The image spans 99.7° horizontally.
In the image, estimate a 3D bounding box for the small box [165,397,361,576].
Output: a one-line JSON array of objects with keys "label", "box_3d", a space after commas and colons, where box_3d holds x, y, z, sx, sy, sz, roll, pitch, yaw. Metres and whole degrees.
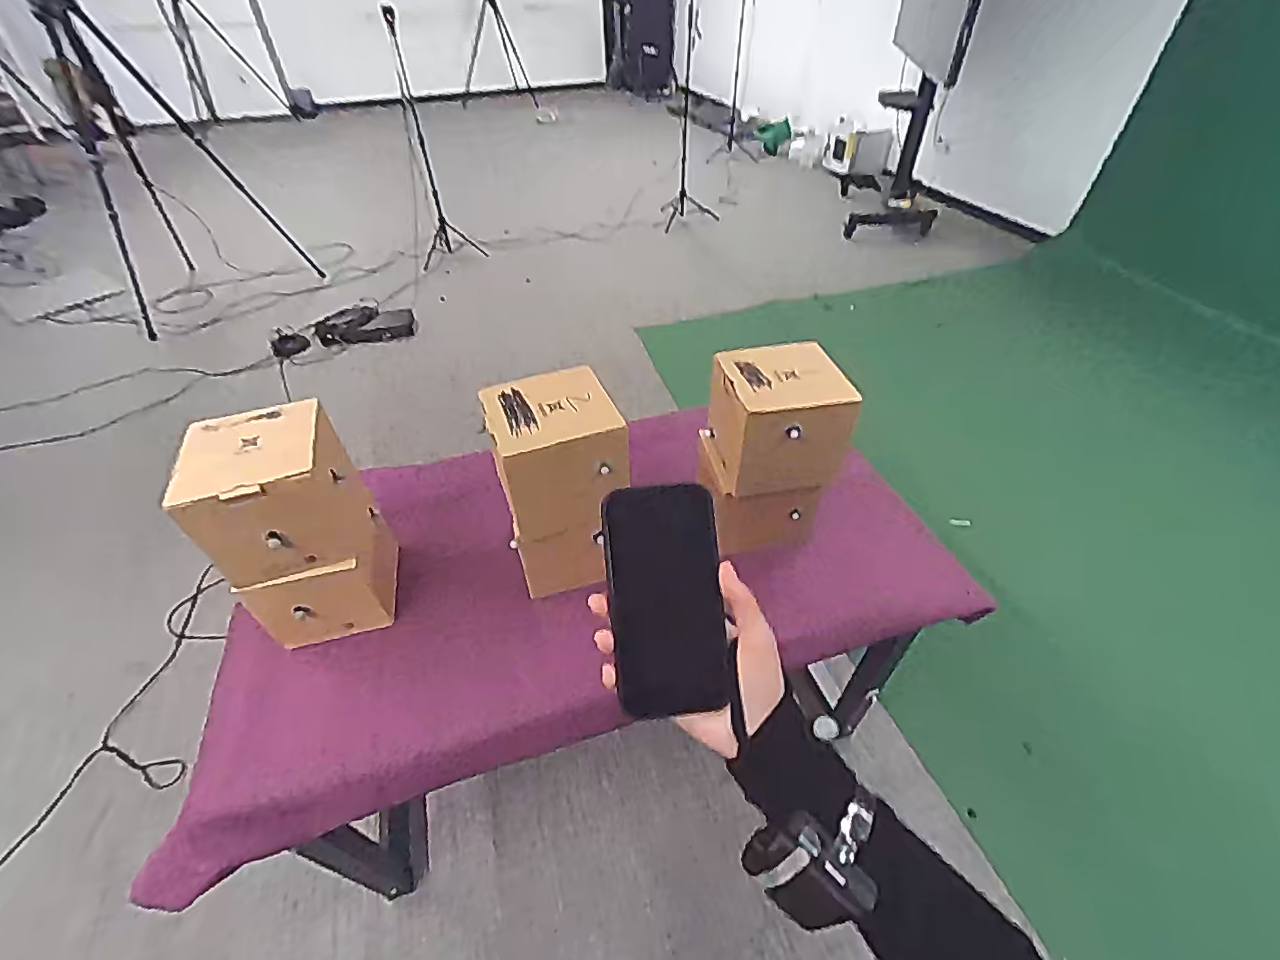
[{"label": "small box", "box_3d": [-0.508, 0.014, 0.761, 0.168, 0.176, 0.179, -16, 46, -14]}]

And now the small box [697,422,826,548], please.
[{"label": "small box", "box_3d": [0.209, 0.001, 0.982, 0.179, 0.176, 0.168, -9, 44, -6]}]

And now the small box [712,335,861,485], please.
[{"label": "small box", "box_3d": [0.217, -0.108, 0.860, 0.179, 0.176, 0.168, -8, 44, -7]}]

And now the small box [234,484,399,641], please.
[{"label": "small box", "box_3d": [-0.501, 0.138, 0.870, 0.168, 0.176, 0.179, -12, 45, -10]}]

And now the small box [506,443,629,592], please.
[{"label": "small box", "box_3d": [-0.121, 0.065, 0.928, 0.179, 0.176, 0.168, -13, 45, -11]}]
